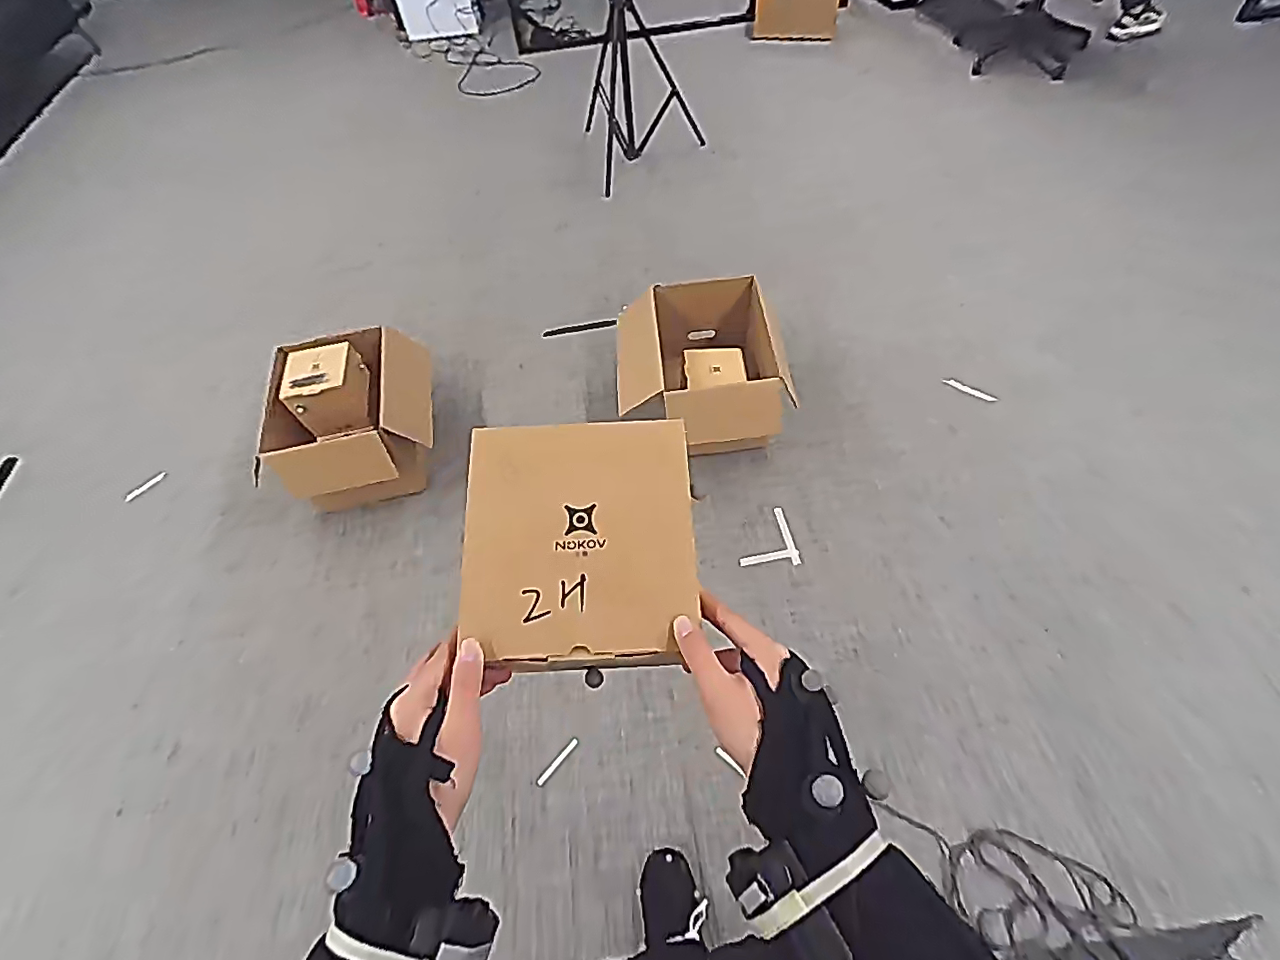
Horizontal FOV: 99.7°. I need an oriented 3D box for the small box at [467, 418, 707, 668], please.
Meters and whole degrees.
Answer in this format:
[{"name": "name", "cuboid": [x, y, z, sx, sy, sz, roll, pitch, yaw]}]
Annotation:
[{"name": "small box", "cuboid": [-0.039, 0.064, 0.470, 0.168, 0.176, 0.179, -3, 69, 0]}]
